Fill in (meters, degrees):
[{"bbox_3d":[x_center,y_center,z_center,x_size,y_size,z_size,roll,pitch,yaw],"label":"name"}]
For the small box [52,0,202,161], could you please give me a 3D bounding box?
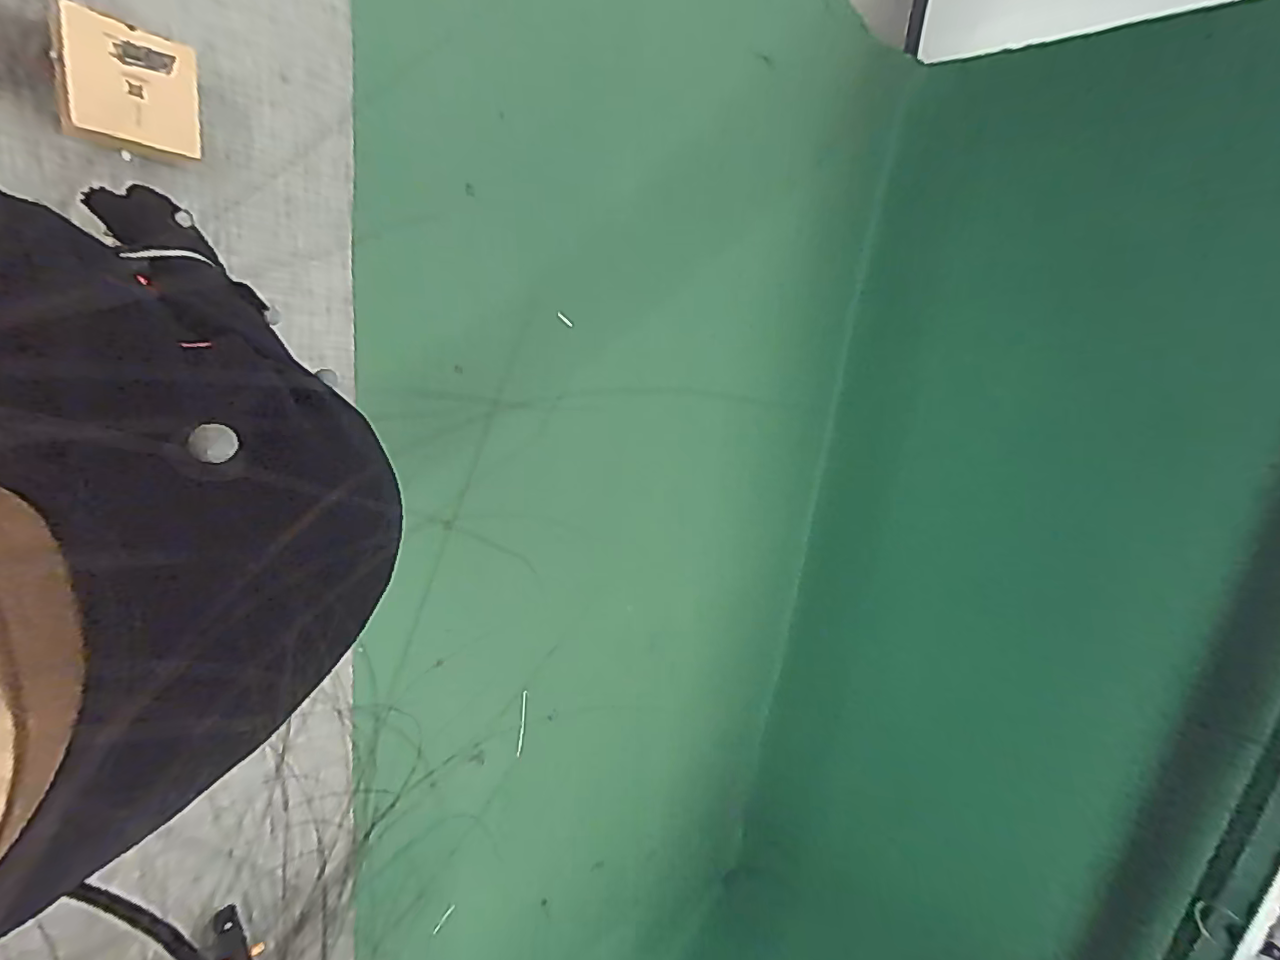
[{"bbox_3d":[-0.890,-0.682,0.940,0.168,0.176,0.179,-8,113,-49],"label":"small box"}]
